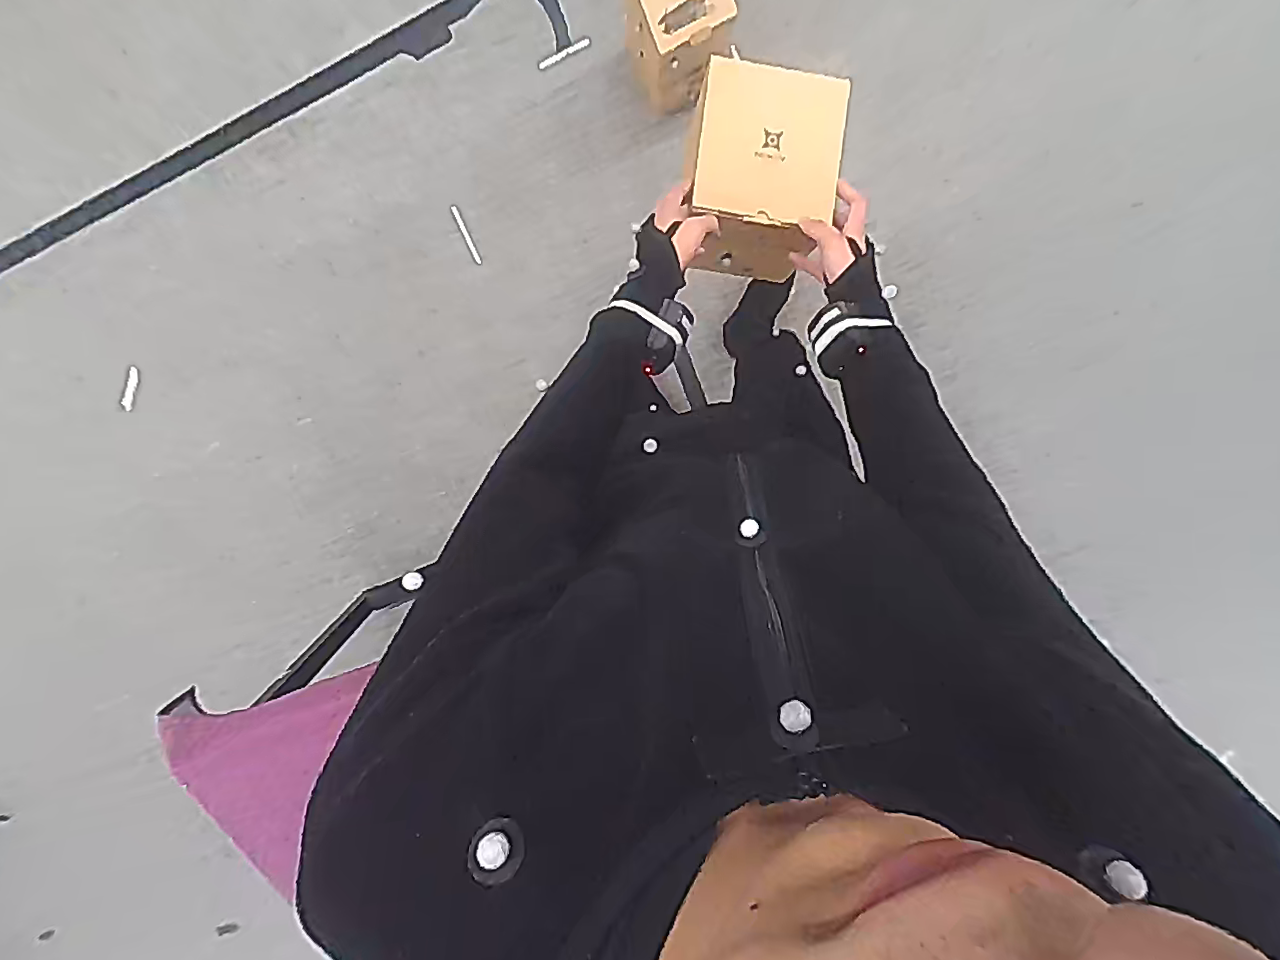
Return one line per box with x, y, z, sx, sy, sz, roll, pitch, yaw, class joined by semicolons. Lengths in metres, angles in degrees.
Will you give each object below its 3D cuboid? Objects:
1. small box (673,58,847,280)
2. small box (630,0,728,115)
0.141;-0.381;0.695;0.168;0.176;0.179;7;92;-5;small box
0.084;-0.996;1.251;0.168;0.176;0.179;-25;107;7;small box
